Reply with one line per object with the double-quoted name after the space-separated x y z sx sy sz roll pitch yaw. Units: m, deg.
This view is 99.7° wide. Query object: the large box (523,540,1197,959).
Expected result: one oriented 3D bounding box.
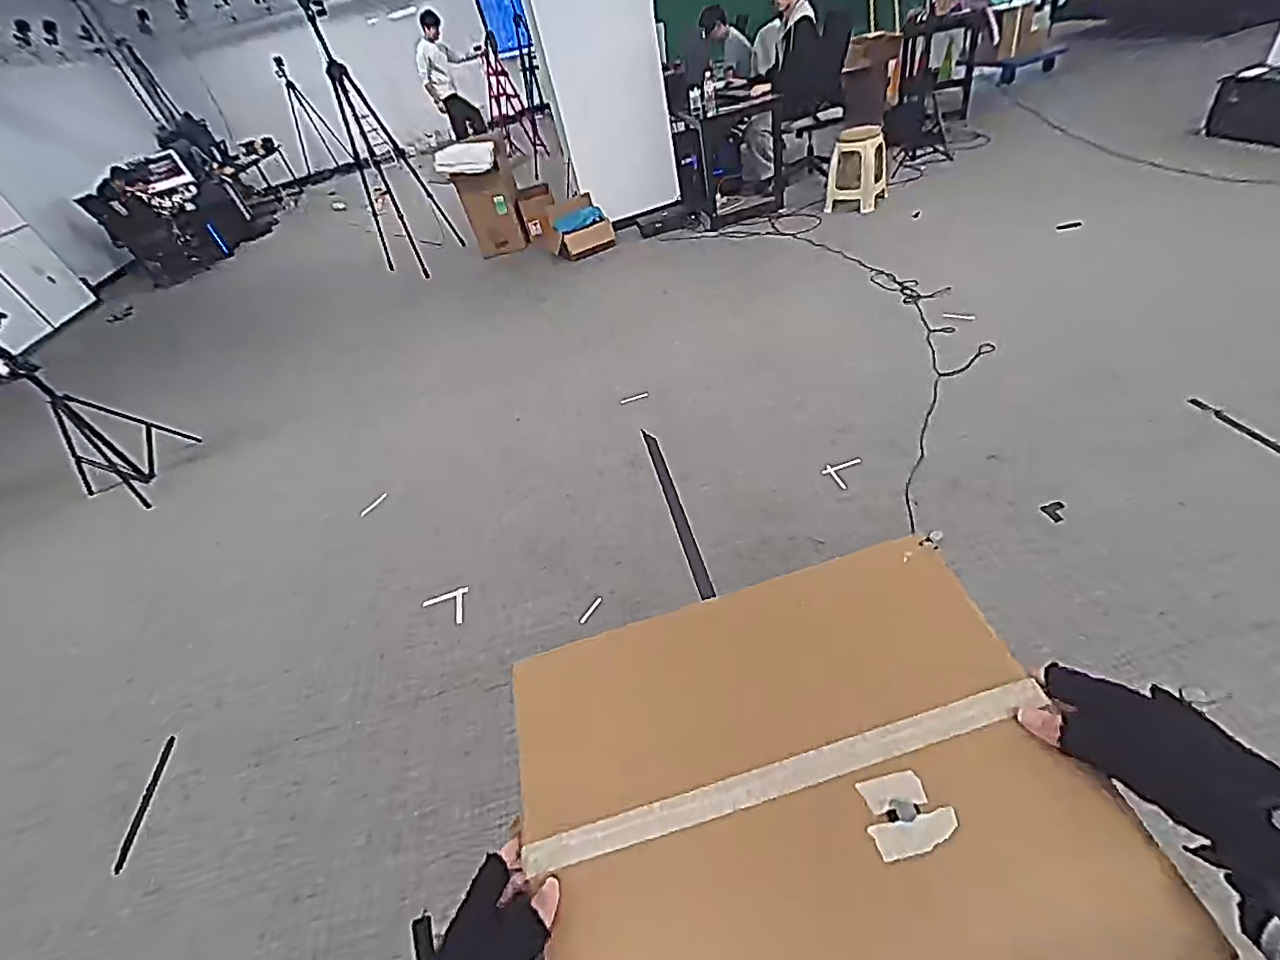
0.141 0.322 0.529 0.408 0.320 0.320 -18 49 -1 "large box"
